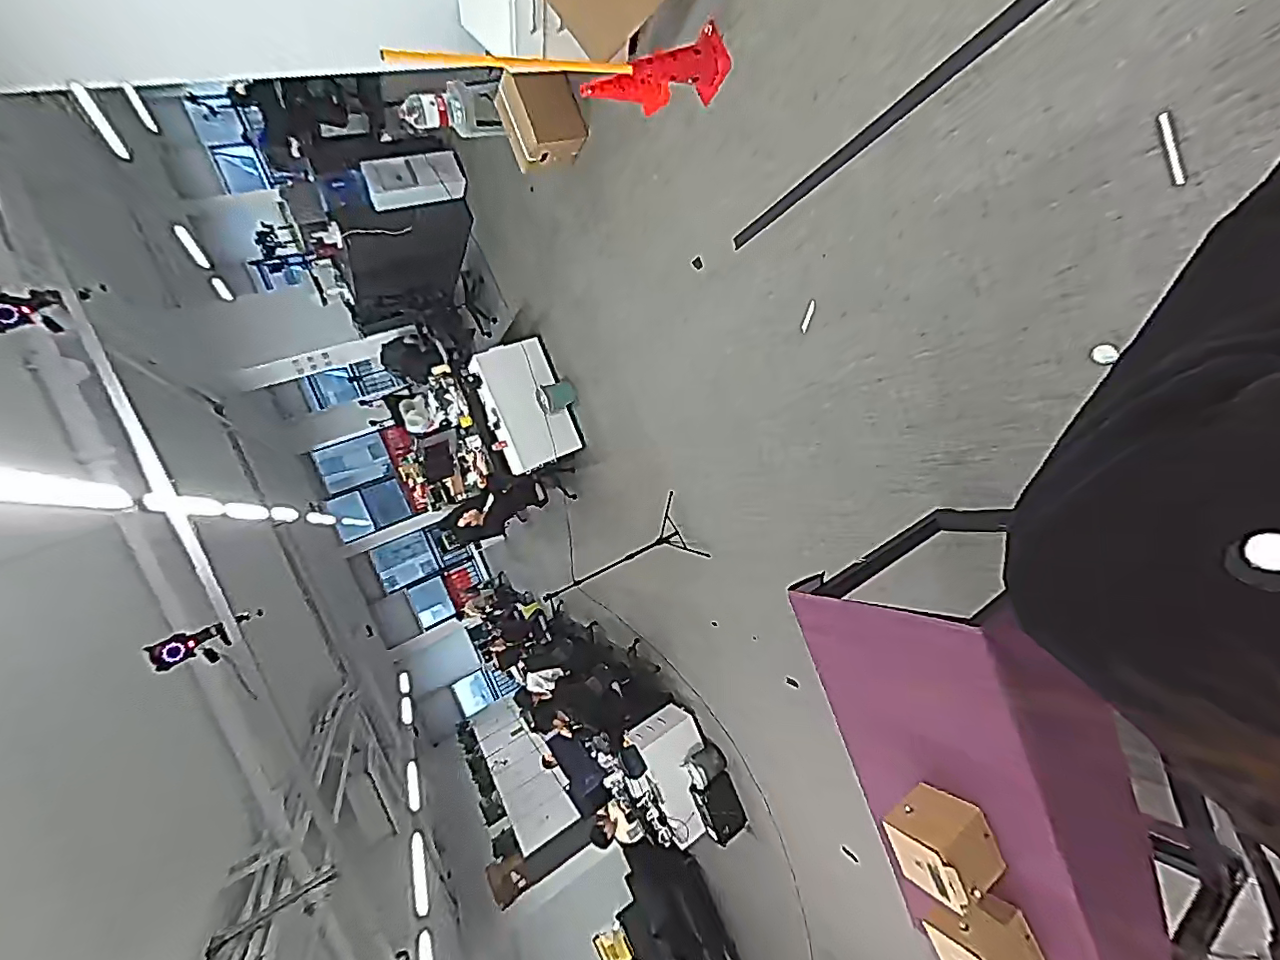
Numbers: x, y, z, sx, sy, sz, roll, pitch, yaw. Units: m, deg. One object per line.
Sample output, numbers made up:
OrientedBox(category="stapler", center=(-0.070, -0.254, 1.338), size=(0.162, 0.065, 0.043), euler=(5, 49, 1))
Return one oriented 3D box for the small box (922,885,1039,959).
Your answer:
OrientedBox(category="small box", center=(0.870, 1.183, 1.369), size=(0.168, 0.176, 0.179), euler=(65, 156, 3))
